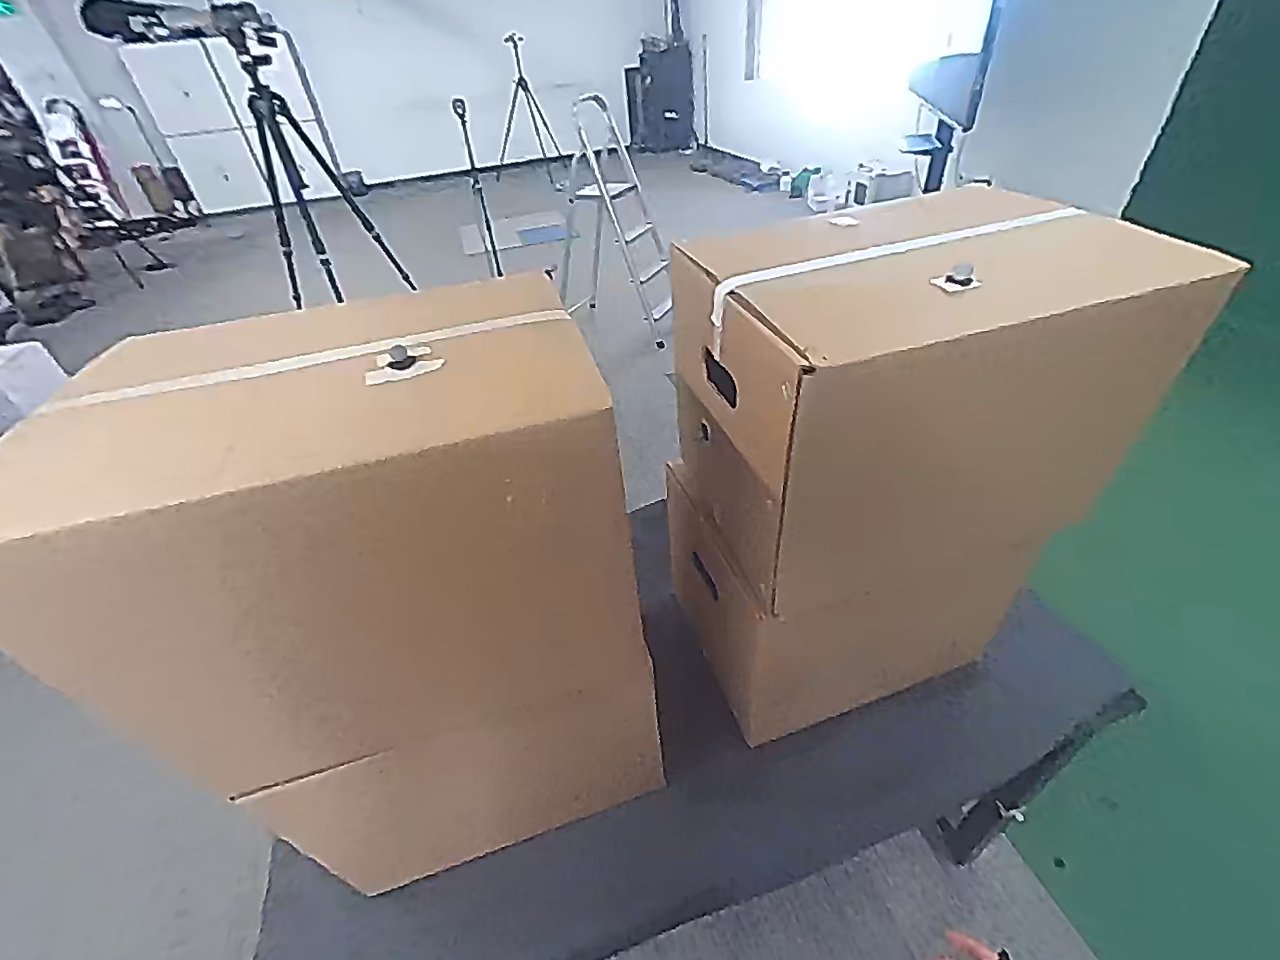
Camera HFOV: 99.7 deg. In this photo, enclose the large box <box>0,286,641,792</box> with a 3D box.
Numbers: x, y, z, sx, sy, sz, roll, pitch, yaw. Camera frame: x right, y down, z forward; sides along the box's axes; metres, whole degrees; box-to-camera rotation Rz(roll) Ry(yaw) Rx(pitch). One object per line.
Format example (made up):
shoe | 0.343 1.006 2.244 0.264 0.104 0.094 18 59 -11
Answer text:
large box | -0.237 0.033 0.539 0.408 0.320 0.320 -13 40 -11
